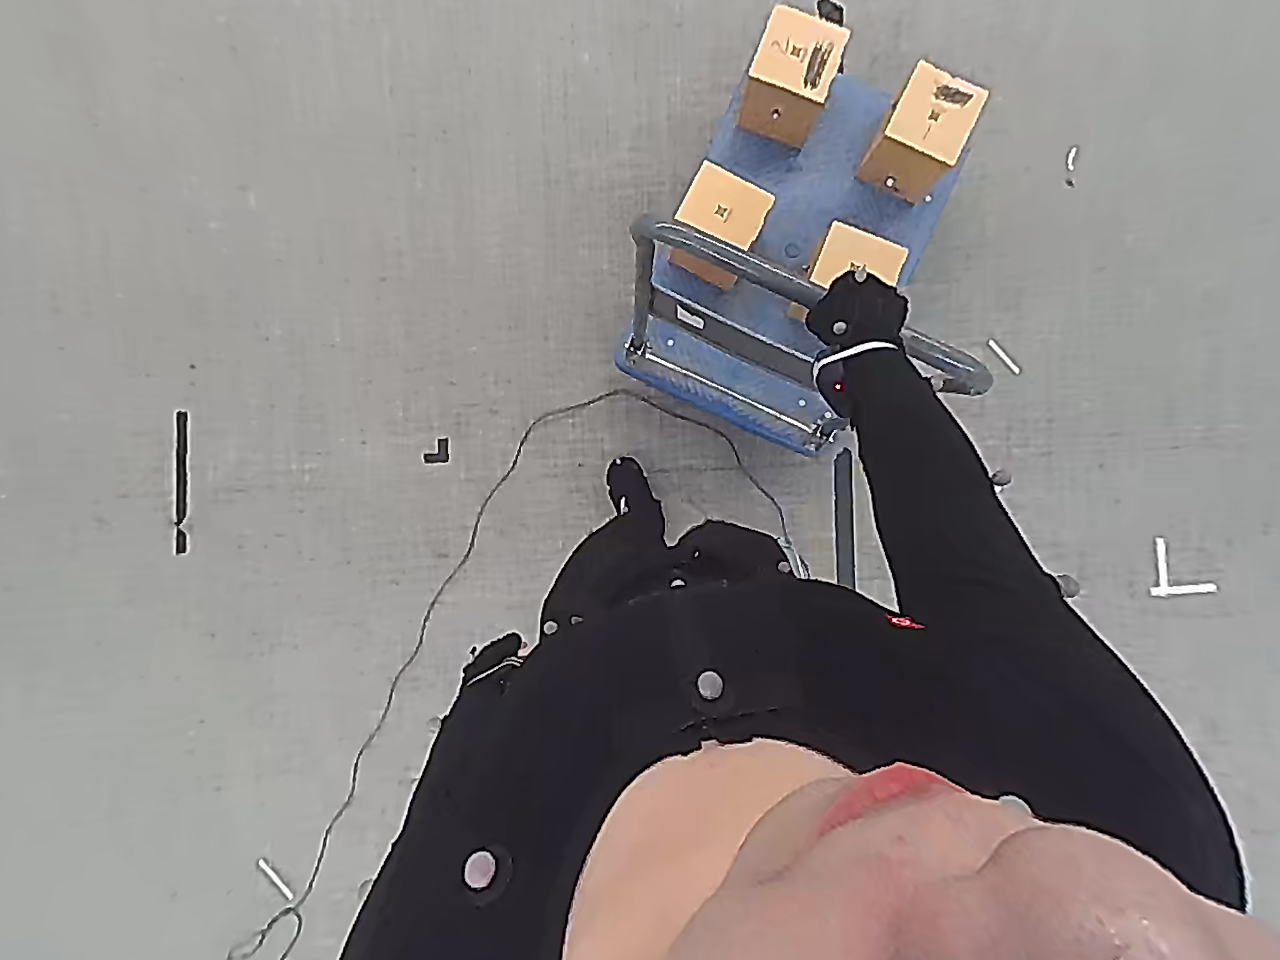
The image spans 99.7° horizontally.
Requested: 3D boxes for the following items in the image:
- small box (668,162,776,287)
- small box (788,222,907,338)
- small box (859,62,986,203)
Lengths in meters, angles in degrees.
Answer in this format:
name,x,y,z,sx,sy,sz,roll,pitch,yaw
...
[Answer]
name,x,y,z,sx,sy,sz,roll,pitch,yaw
small box,0.176,-0.569,1.231,0.179,0.176,0.168,27,90,-1
small box,0.460,-0.443,1.227,0.179,0.176,0.168,22,90,0
small box,0.627,-0.776,1.226,0.168,0.176,0.179,26,91,0
